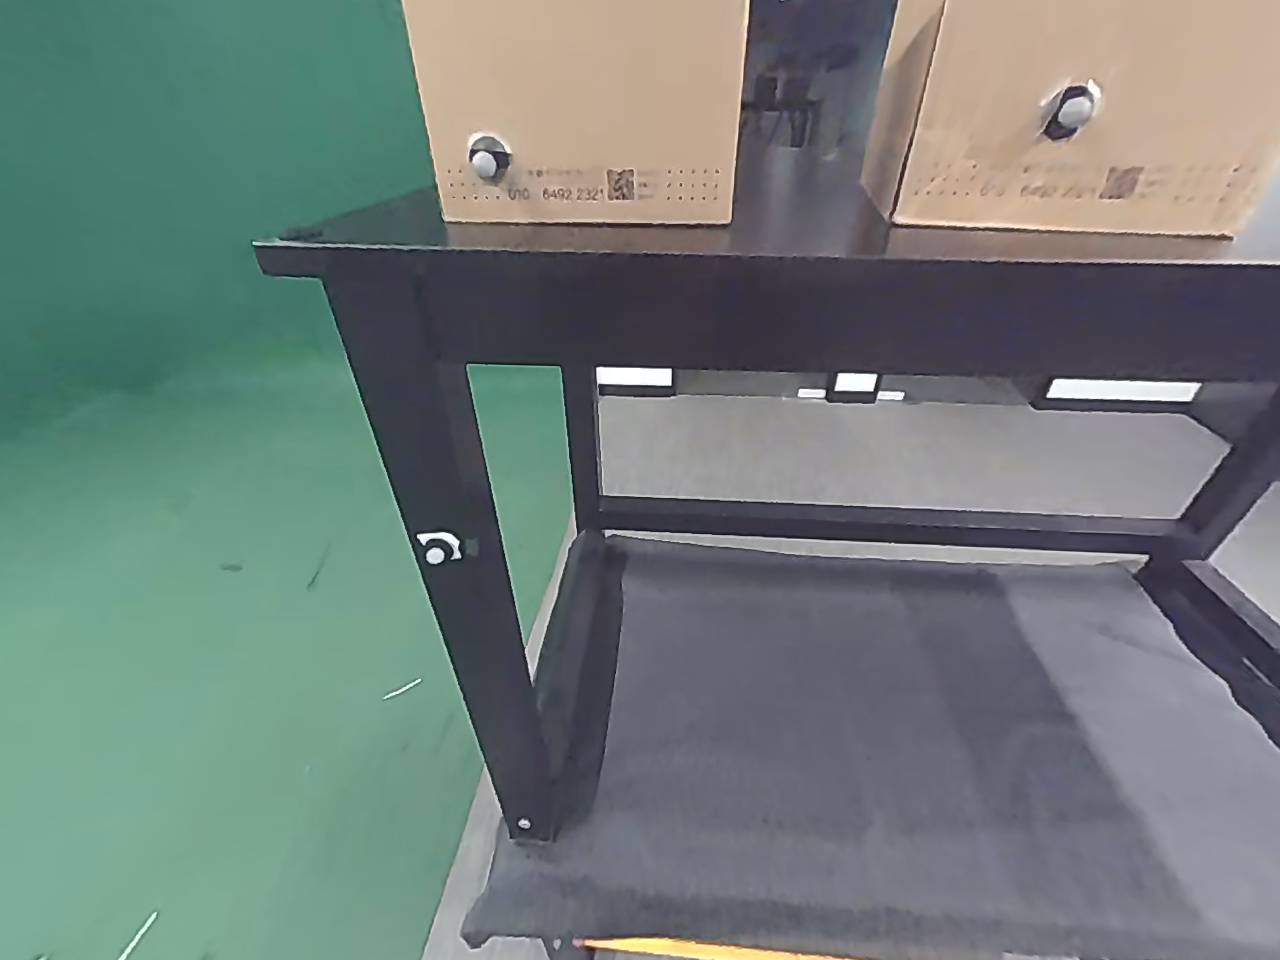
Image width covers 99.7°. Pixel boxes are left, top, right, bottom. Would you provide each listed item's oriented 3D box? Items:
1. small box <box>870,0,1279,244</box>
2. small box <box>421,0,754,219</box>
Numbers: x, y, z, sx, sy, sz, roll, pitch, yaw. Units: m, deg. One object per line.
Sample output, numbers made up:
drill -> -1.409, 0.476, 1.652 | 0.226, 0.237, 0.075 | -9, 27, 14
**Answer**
small box -> 0.244, -0.248, 0.314 | 0.168, 0.176, 0.179 | 8, 36, 11
small box -> -0.020, -0.263, 0.330 | 0.168, 0.176, 0.179 | 3, 34, 3
